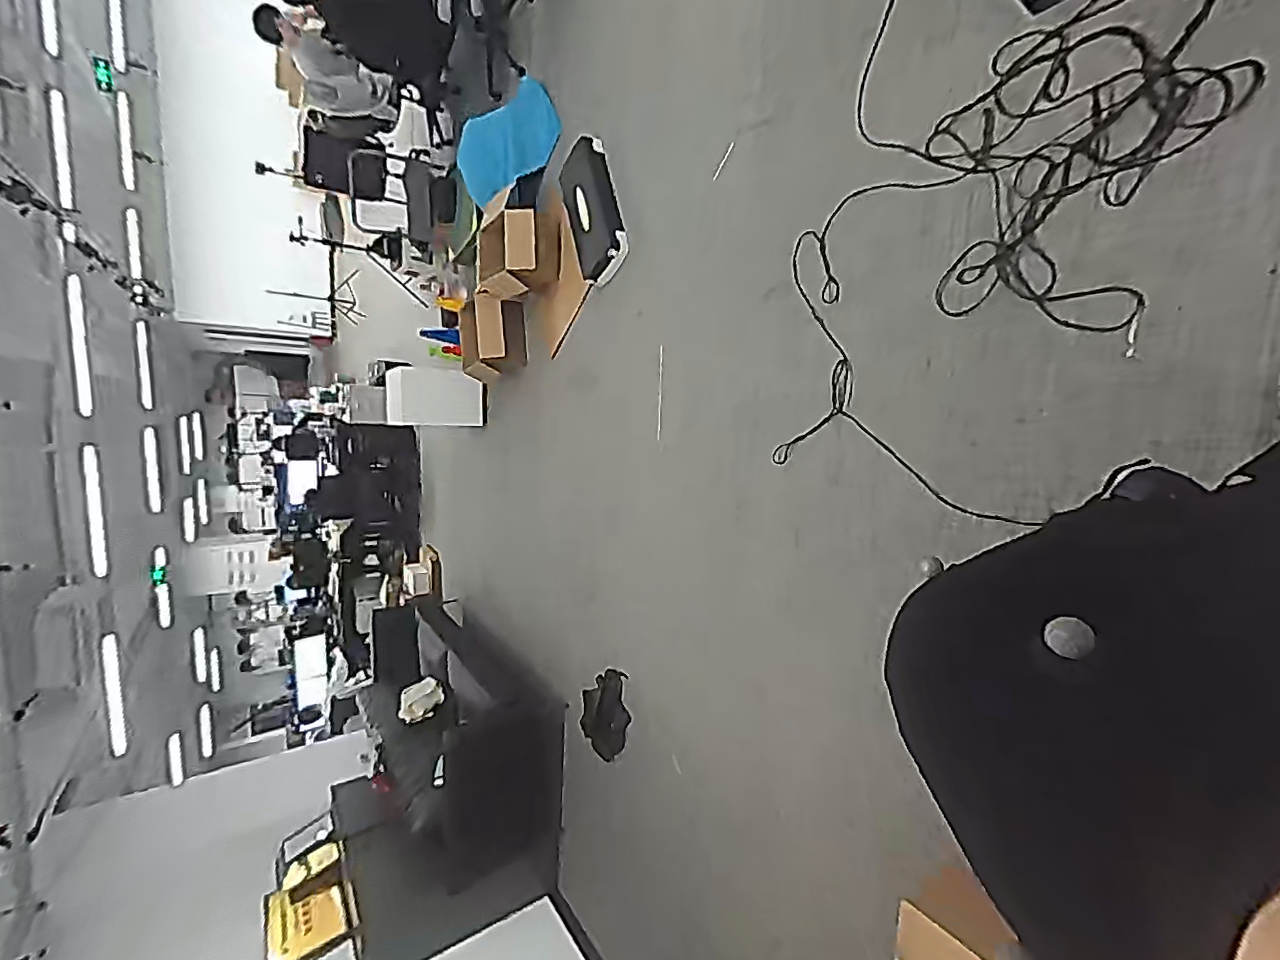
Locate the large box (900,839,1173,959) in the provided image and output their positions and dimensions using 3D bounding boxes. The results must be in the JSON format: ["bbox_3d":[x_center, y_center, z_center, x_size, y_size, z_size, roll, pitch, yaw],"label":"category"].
[{"bbox_3d":[0.826,1.079,1.139,0.408,0.320,0.320,12,102,55],"label":"large box"}]
